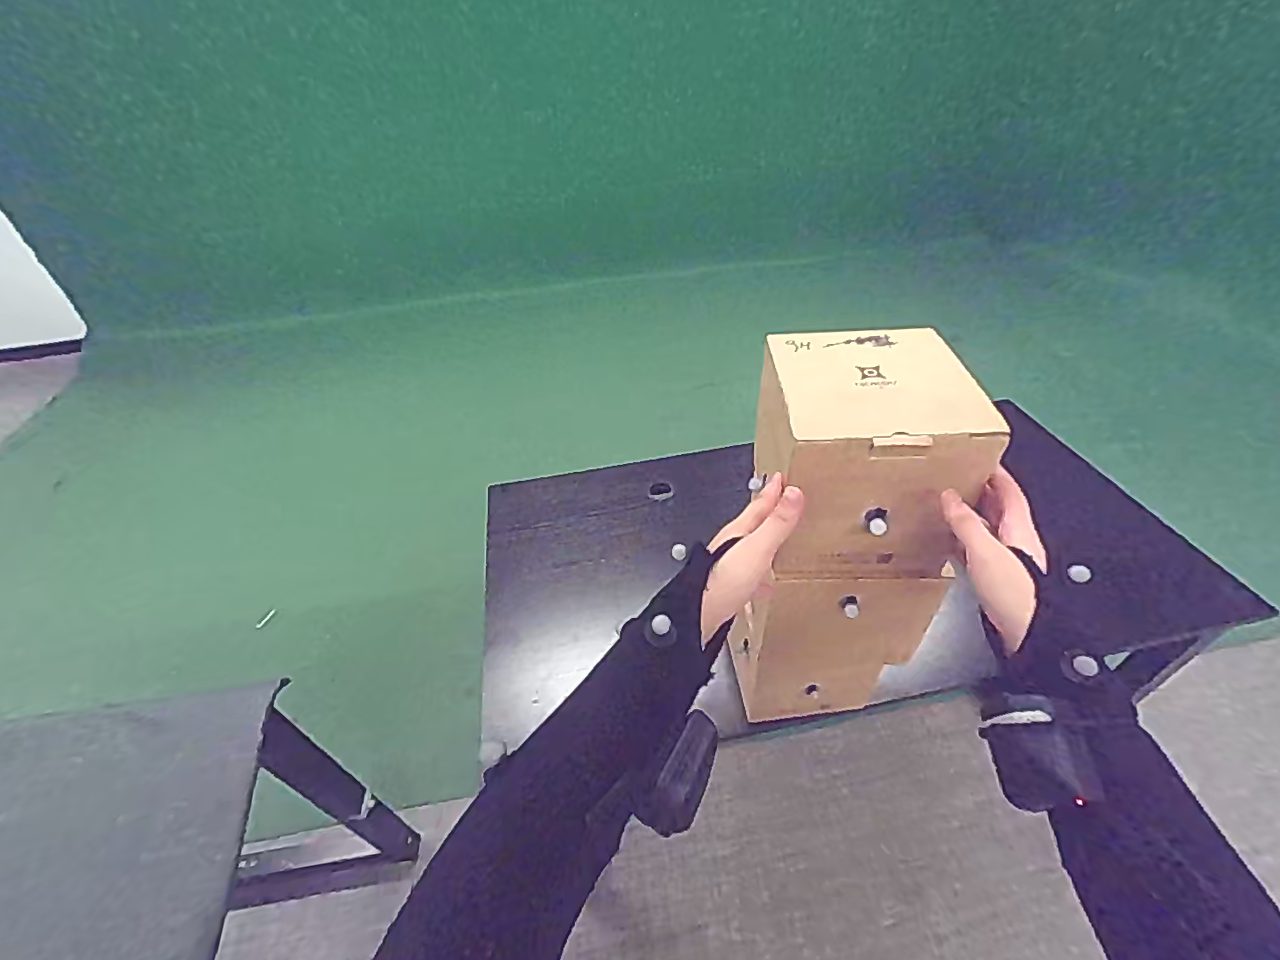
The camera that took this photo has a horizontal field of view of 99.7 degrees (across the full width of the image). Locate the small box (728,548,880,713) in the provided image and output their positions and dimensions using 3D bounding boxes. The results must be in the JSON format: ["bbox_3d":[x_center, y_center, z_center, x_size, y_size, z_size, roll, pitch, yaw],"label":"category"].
[{"bbox_3d":[0.223,0.207,0.756,0.168,0.176,0.179,-6,42,-2],"label":"small box"}]

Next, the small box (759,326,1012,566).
[{"bbox_3d":[0.213,-0.030,0.530,0.168,0.176,0.179,-1,43,4],"label":"small box"}]

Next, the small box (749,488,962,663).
[{"bbox_3d":[0.230,0.099,0.633,0.179,0.176,0.168,-1,42,4],"label":"small box"}]
